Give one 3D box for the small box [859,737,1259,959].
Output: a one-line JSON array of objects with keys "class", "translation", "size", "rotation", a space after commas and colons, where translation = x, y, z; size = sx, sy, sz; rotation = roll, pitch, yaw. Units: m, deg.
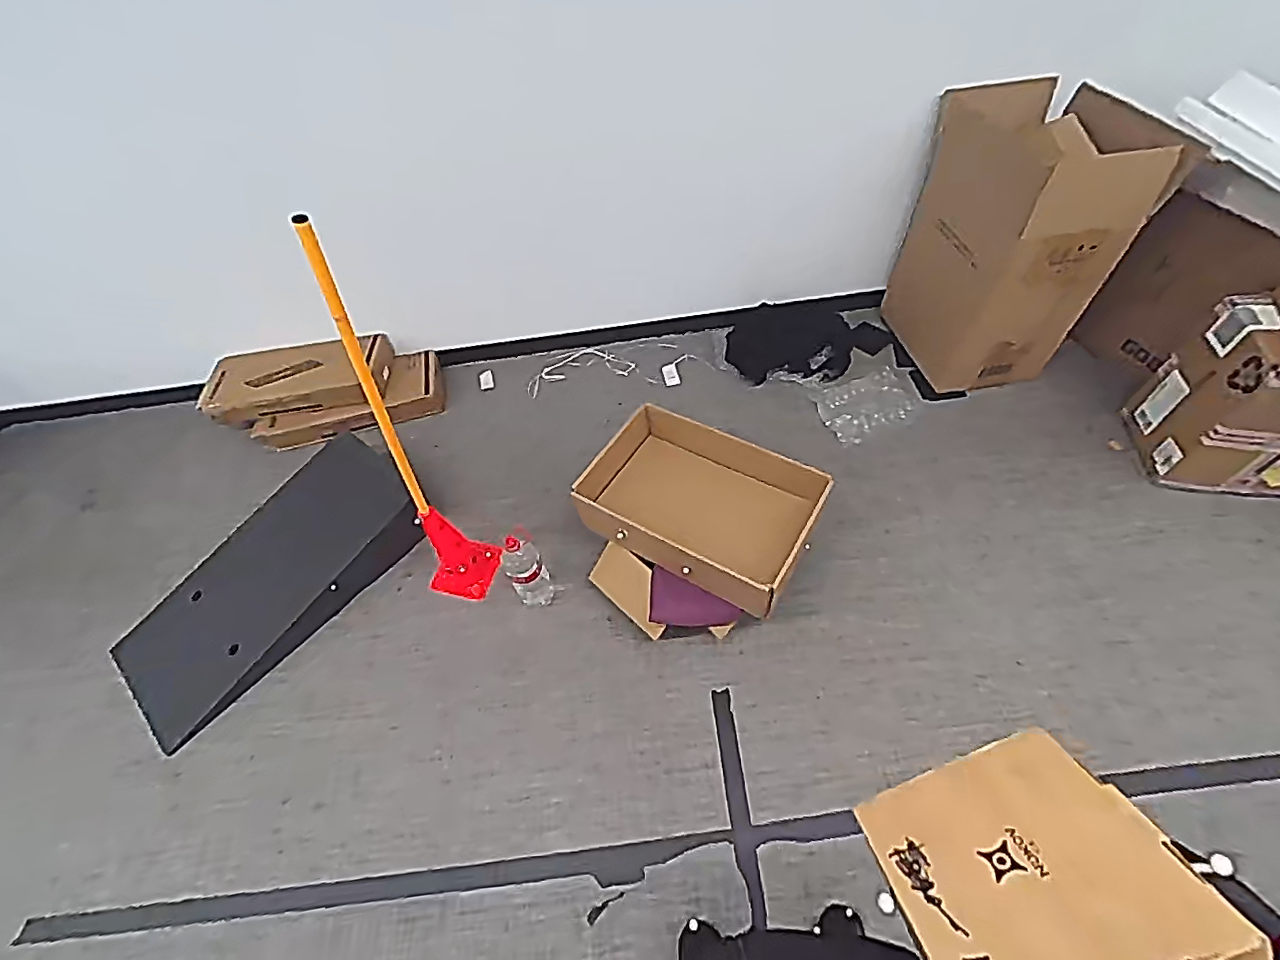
[{"class": "small box", "translation": [0.307, 0.348, 0.417], "size": [0.179, 0.176, 0.168], "rotation": [-25, 16, 4]}]
